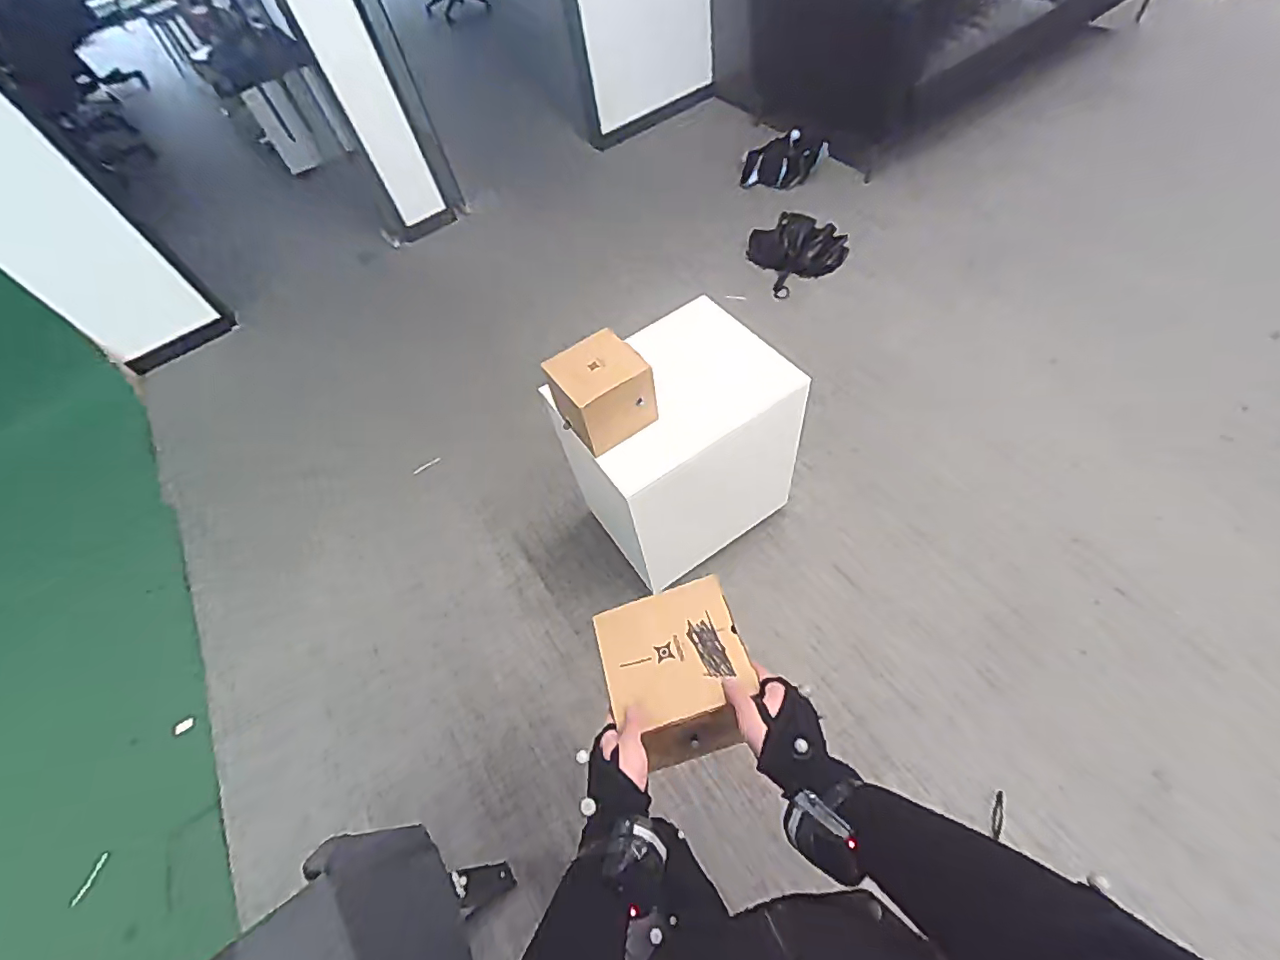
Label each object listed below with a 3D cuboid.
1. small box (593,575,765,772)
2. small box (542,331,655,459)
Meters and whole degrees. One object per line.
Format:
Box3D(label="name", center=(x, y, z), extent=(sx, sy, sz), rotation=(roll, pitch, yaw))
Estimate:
Box3D(label="small box", center=(0.052, 0.256, 0.709), extent=(0.179, 0.176, 0.168), rotation=(-17, 47, -1))
Box3D(label="small box", center=(-0.081, -0.179, 1.158), extent=(0.179, 0.176, 0.168), rotation=(-33, 57, -15))
